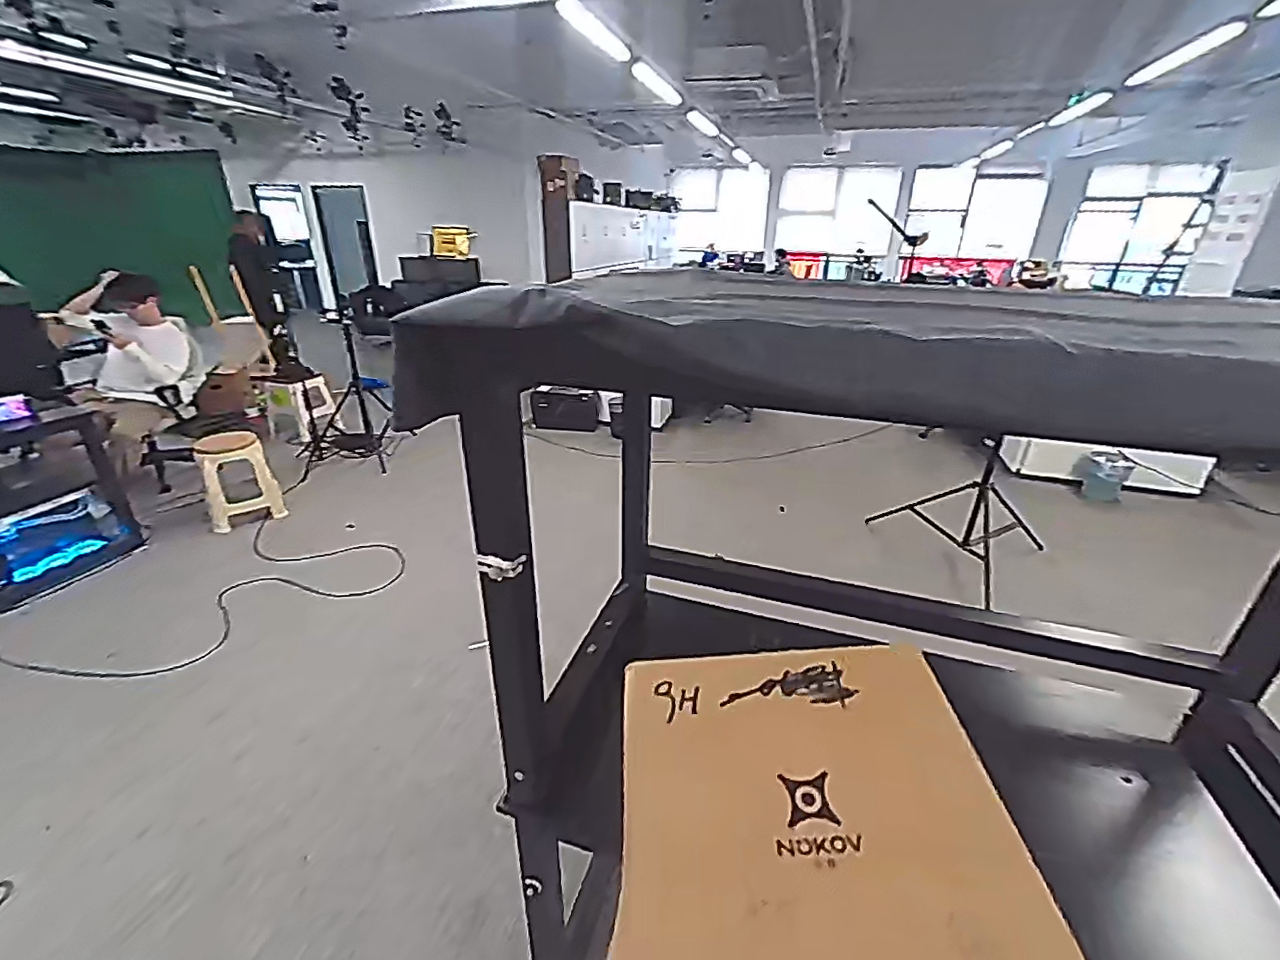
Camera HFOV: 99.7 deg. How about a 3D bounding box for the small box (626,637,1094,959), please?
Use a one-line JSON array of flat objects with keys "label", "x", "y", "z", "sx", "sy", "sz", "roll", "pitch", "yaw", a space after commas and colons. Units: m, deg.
[{"label": "small box", "x": 0.082, "y": 0.207, "z": 0.276, "sx": 0.168, "sy": 0.176, "sz": 0.179, "roll": -4, "pitch": 38, "yaw": 1}]
